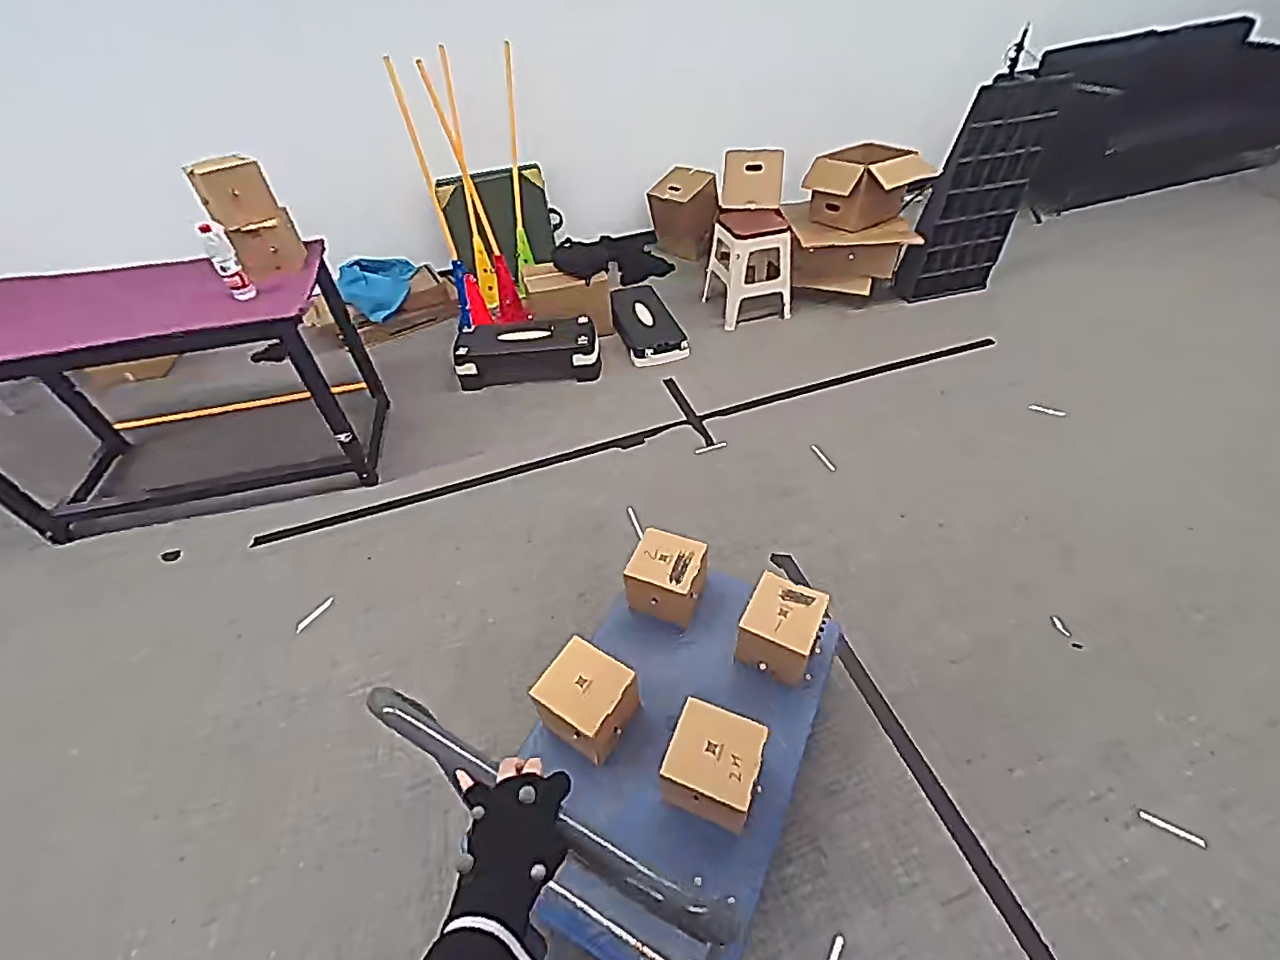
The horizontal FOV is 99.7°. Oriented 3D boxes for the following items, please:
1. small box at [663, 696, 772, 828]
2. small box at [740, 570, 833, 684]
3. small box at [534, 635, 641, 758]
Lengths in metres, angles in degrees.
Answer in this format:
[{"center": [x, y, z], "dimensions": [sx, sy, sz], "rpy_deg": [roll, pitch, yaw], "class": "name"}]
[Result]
[{"center": [0.159, 0.585, 1.117], "dimensions": [0.179, 0.176, 0.168], "rpy_deg": [15, 48, 19], "class": "small box"}, {"center": [0.352, 0.361, 1.325], "dimensions": [0.168, 0.176, 0.179], "rpy_deg": [20, 51, 23], "class": "small box"}, {"center": [-0.112, 0.496, 1.231], "dimensions": [0.179, 0.176, 0.168], "rpy_deg": [24, 51, 24], "class": "small box"}]
